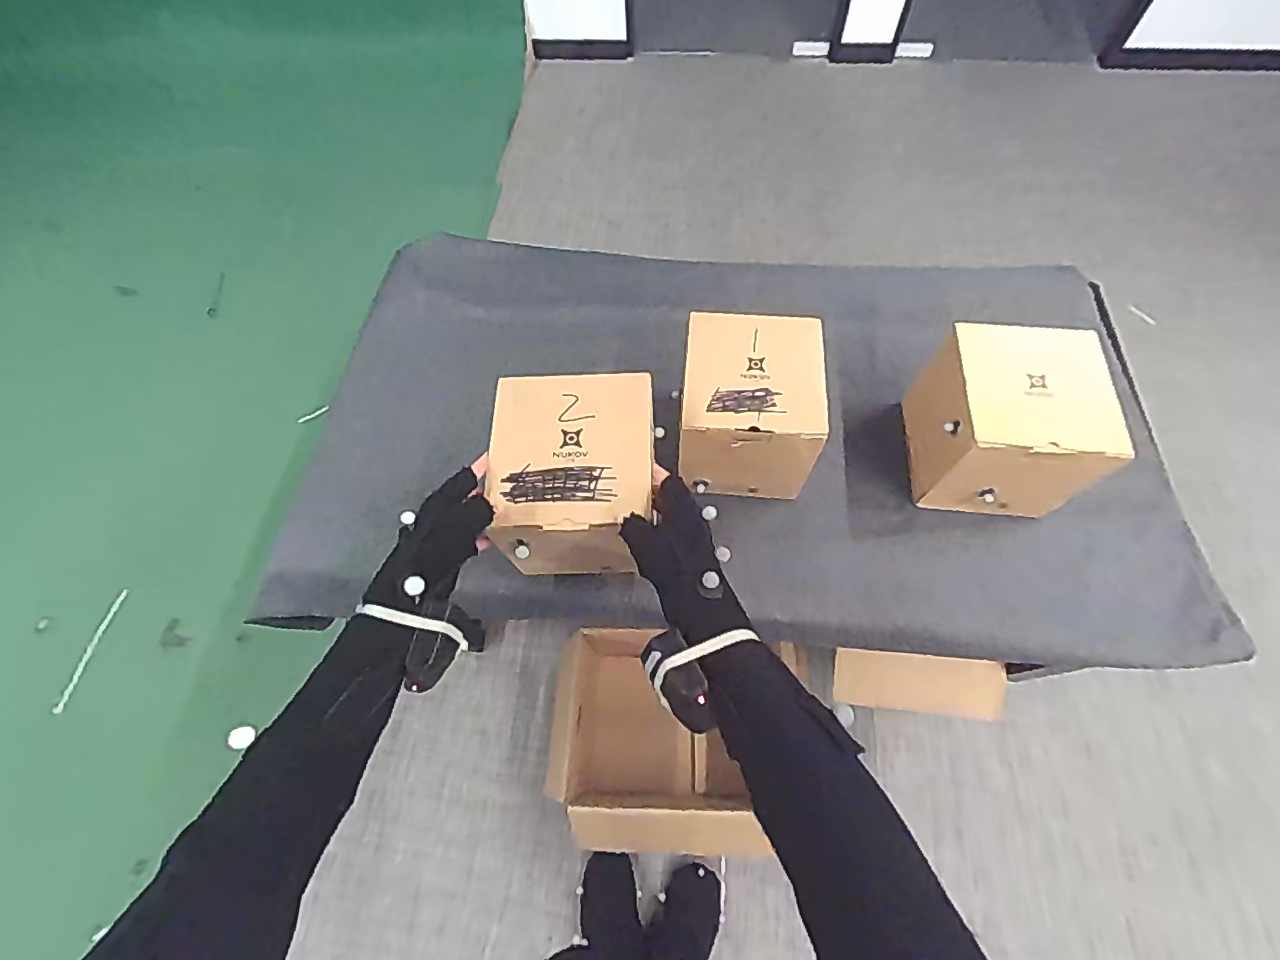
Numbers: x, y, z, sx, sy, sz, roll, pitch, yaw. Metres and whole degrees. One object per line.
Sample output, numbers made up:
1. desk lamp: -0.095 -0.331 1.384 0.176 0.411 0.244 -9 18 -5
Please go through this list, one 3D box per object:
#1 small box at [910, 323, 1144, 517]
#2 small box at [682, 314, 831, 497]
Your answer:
1. small box: 0.463 -0.071 0.684 0.168 0.176 0.179 4 64 5
2. small box: 0.143 -0.091 0.708 0.168 0.176 0.179 4 63 5
